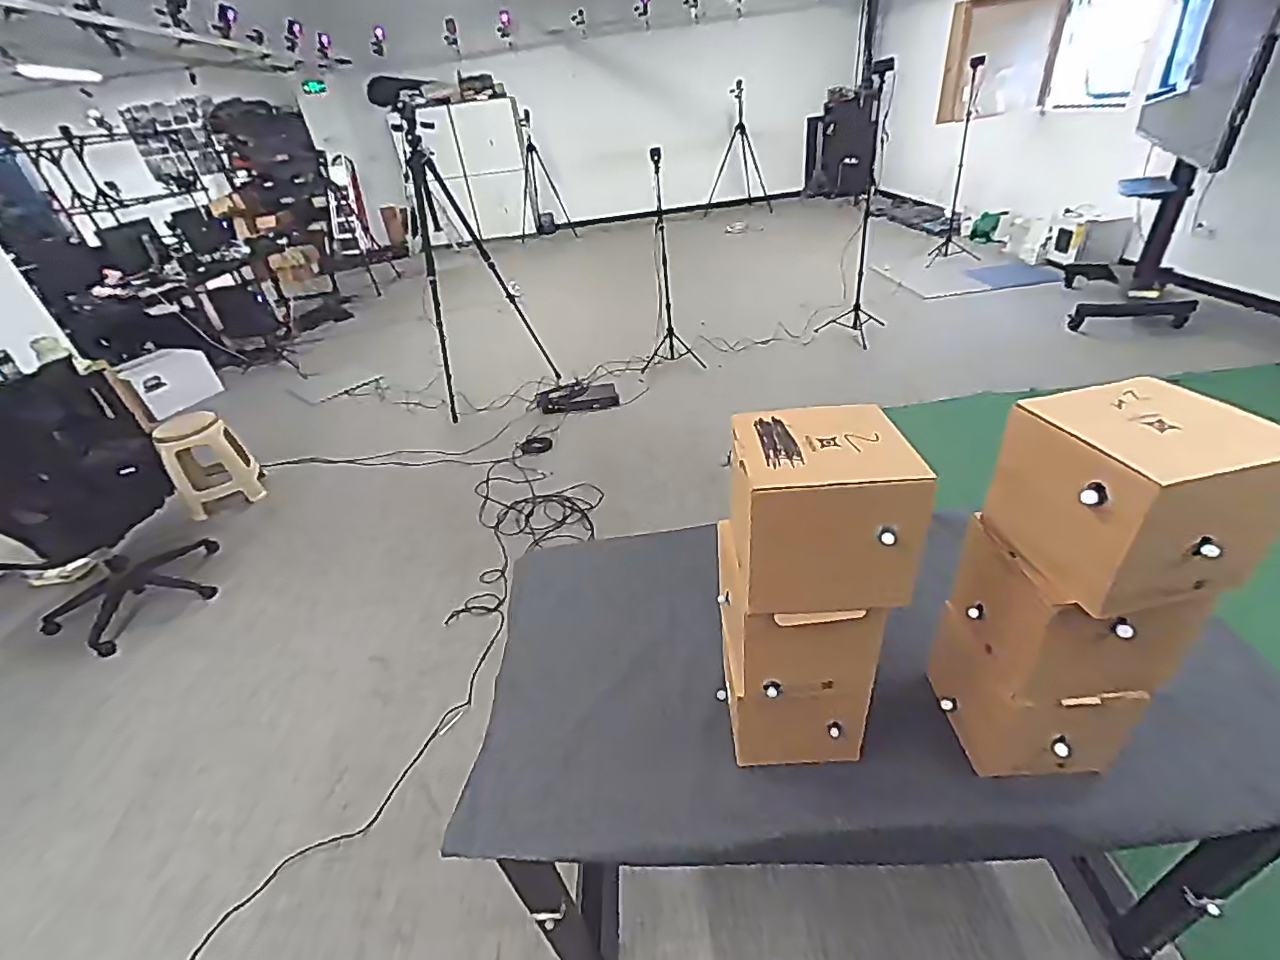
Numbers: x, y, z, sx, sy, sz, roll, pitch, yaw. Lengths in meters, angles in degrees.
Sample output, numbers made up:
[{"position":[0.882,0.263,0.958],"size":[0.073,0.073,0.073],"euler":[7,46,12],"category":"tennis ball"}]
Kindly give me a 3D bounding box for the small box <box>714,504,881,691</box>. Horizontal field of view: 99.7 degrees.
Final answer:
[{"position":[0.196,0.157,0.713],"size":[0.168,0.176,0.179],"euler":[-7,32,1],"category":"small box"}]

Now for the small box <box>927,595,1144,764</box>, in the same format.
[{"position":[0.528,0.275,0.755],"size":[0.168,0.176,0.179],"euler":[-6,34,5],"category":"small box"}]

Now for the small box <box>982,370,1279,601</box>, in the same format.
[{"position":[0.504,0.007,0.567],"size":[0.168,0.176,0.179],"euler":[-11,33,-4],"category":"small box"}]

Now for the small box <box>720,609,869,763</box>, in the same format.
[{"position":[0.217,0.294,0.801],"size":[0.179,0.176,0.168],"euler":[-7,33,4],"category":"small box"}]

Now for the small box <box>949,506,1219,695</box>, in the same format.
[{"position":[0.517,0.140,0.665],"size":[0.179,0.176,0.168],"euler":[-7,33,3],"category":"small box"}]
